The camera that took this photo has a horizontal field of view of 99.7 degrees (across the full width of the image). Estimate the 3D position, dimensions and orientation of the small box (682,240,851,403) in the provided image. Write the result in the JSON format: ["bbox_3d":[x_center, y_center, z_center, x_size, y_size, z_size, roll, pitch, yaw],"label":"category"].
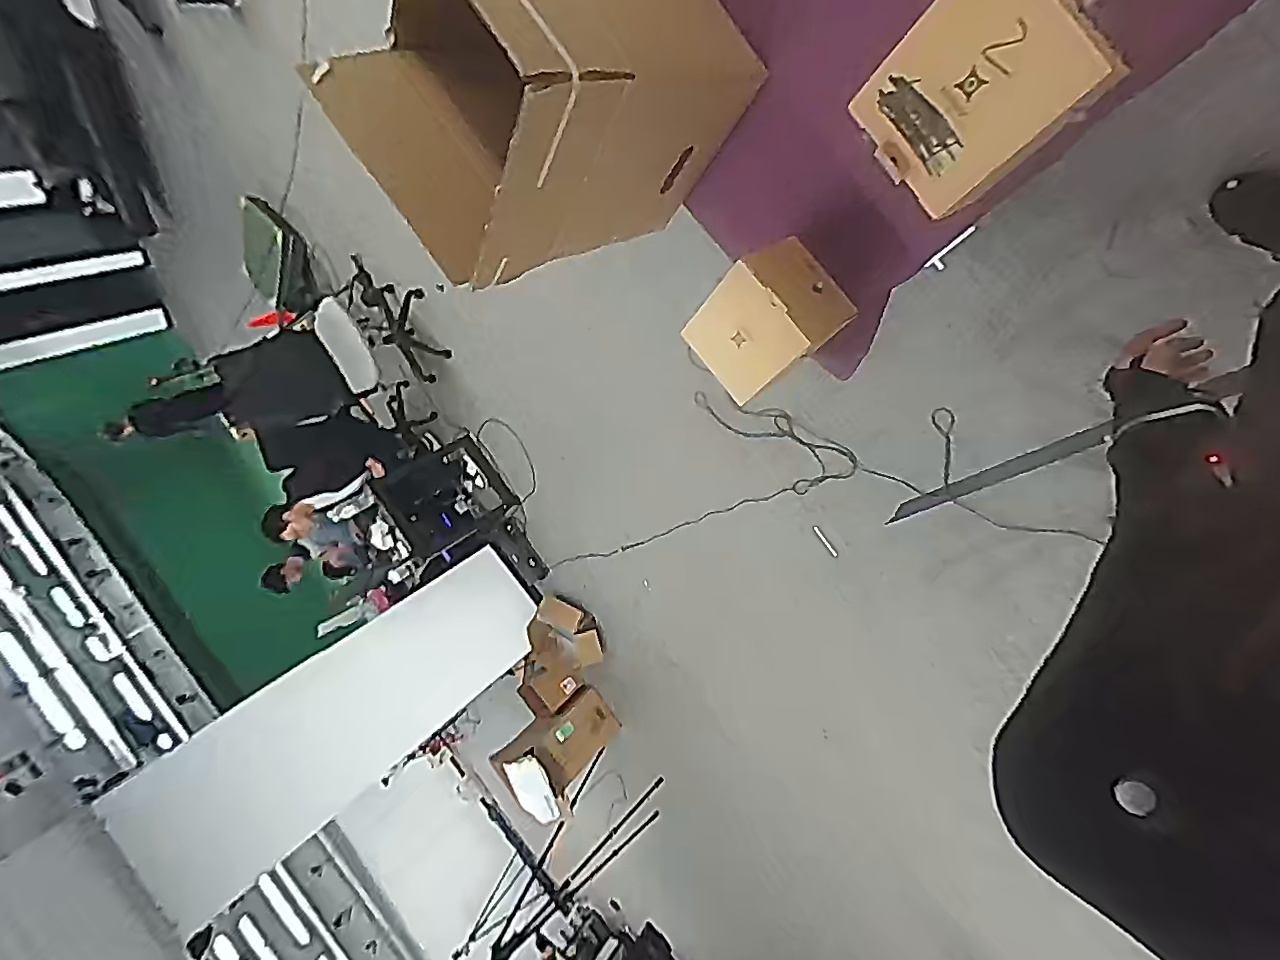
[{"bbox_3d":[0.209,-0.261,0.891,0.168,0.176,0.179,51,142,4],"label":"small box"}]
